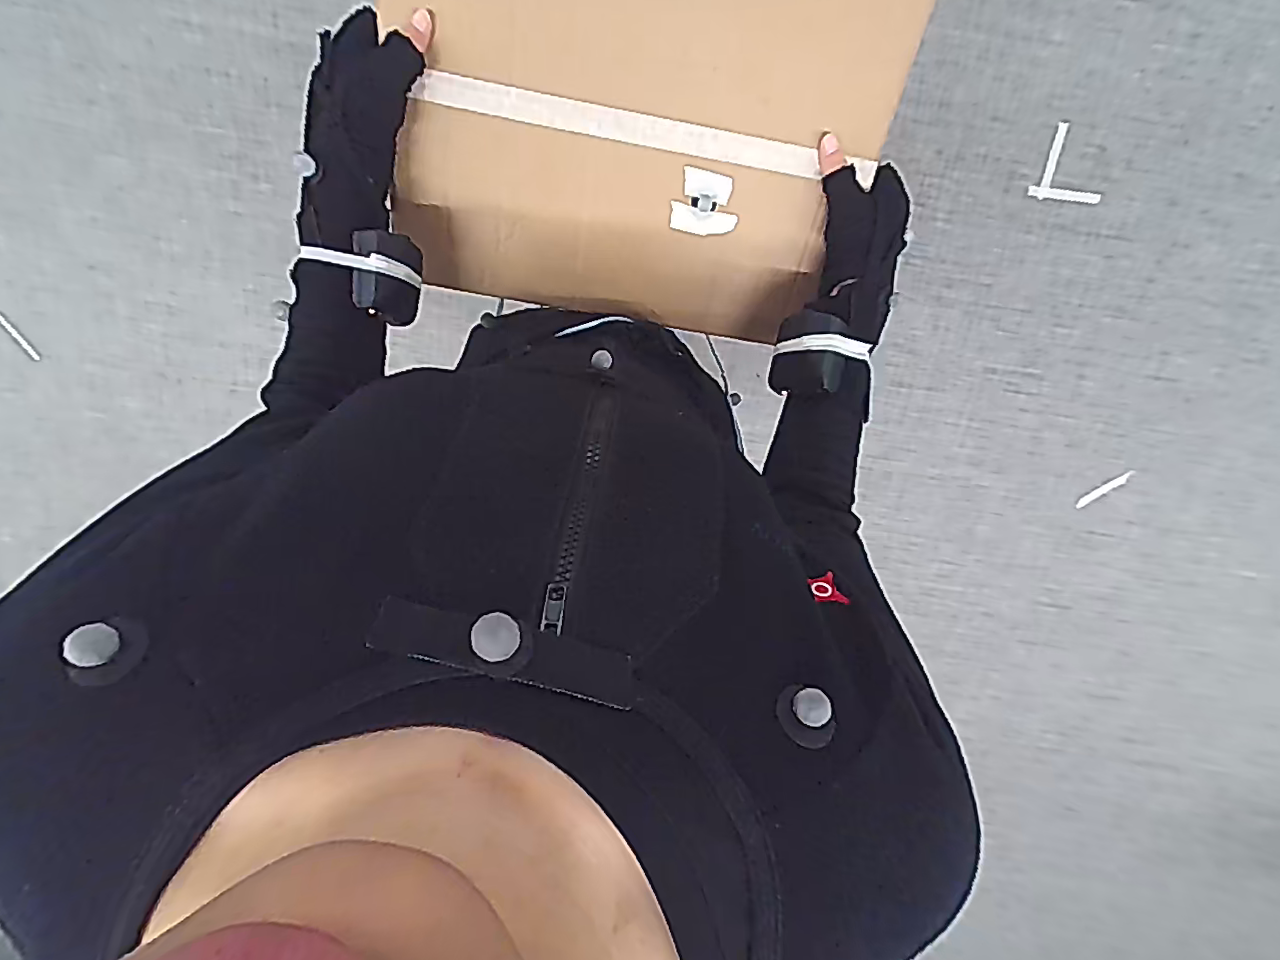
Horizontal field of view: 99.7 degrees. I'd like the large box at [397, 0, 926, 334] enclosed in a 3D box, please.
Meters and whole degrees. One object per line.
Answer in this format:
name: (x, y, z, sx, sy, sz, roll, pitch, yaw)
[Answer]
large box: (0.001, -0.379, 0.576, 0.408, 0.320, 0.320, 8, 123, -6)
